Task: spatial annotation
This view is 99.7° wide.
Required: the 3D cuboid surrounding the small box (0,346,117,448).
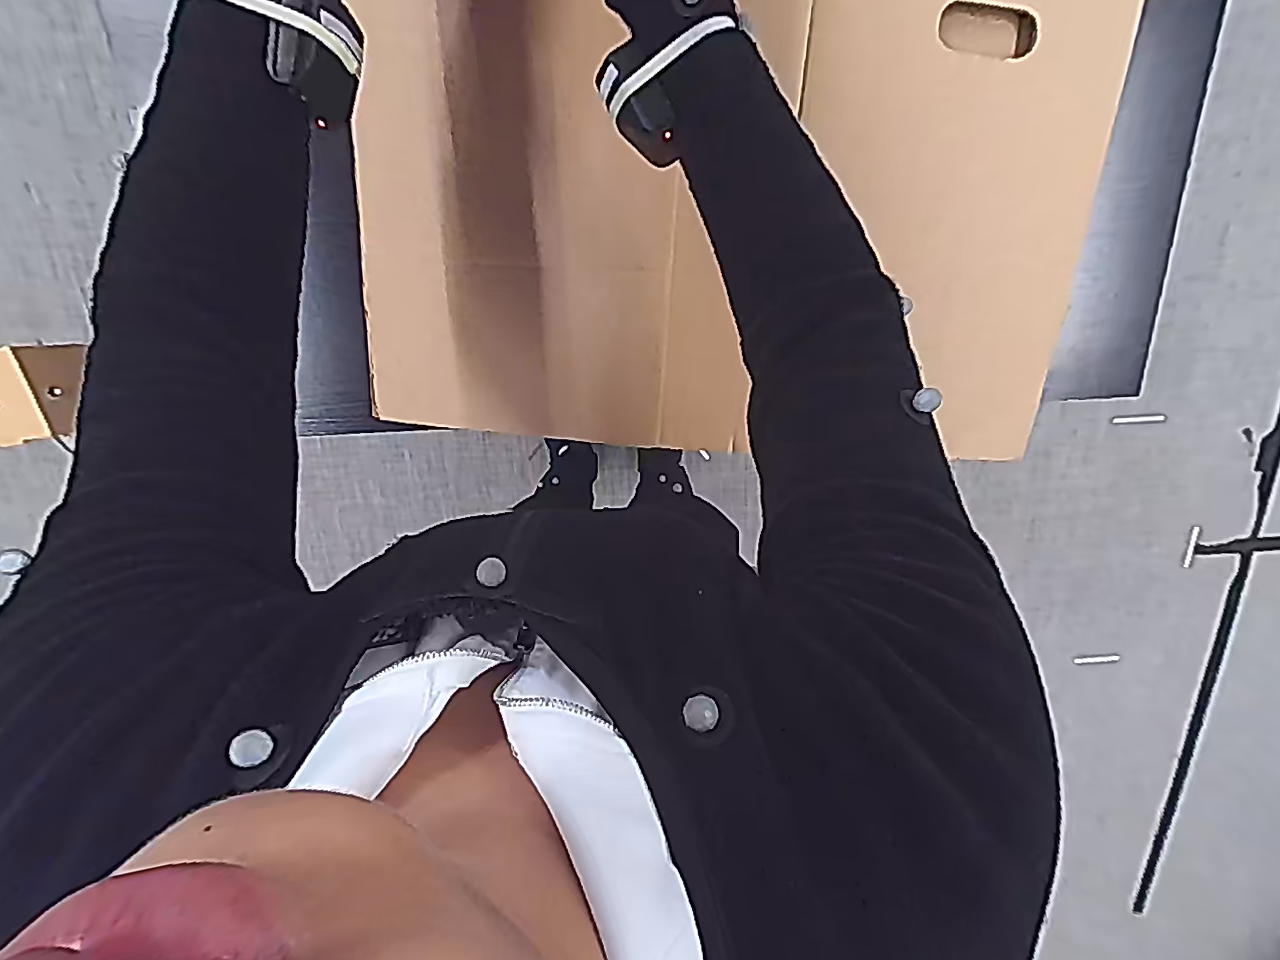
[{"bbox_3d":[-1.230,-0.169,1.091,0.168,0.176,0.179,-10,106,-2],"label":"small box"}]
